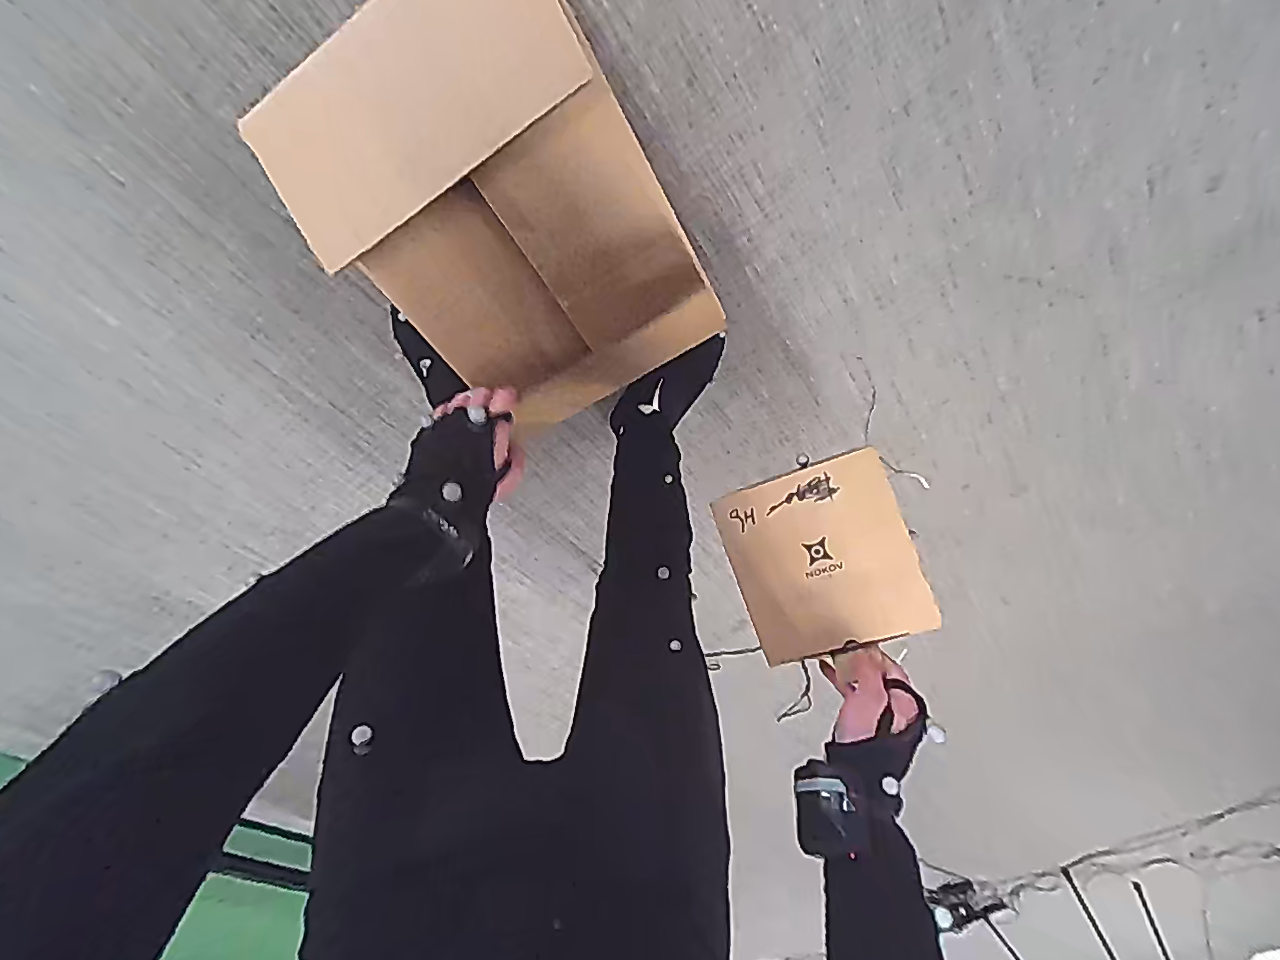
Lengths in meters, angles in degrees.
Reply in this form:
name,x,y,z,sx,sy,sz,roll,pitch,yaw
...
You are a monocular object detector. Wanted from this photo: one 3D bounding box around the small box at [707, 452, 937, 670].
name,x,y,z,sx,sy,sz,roll,pitch,yaw
small box,0.196,0.078,0.595,0.168,0.176,0.179,-24,84,18
